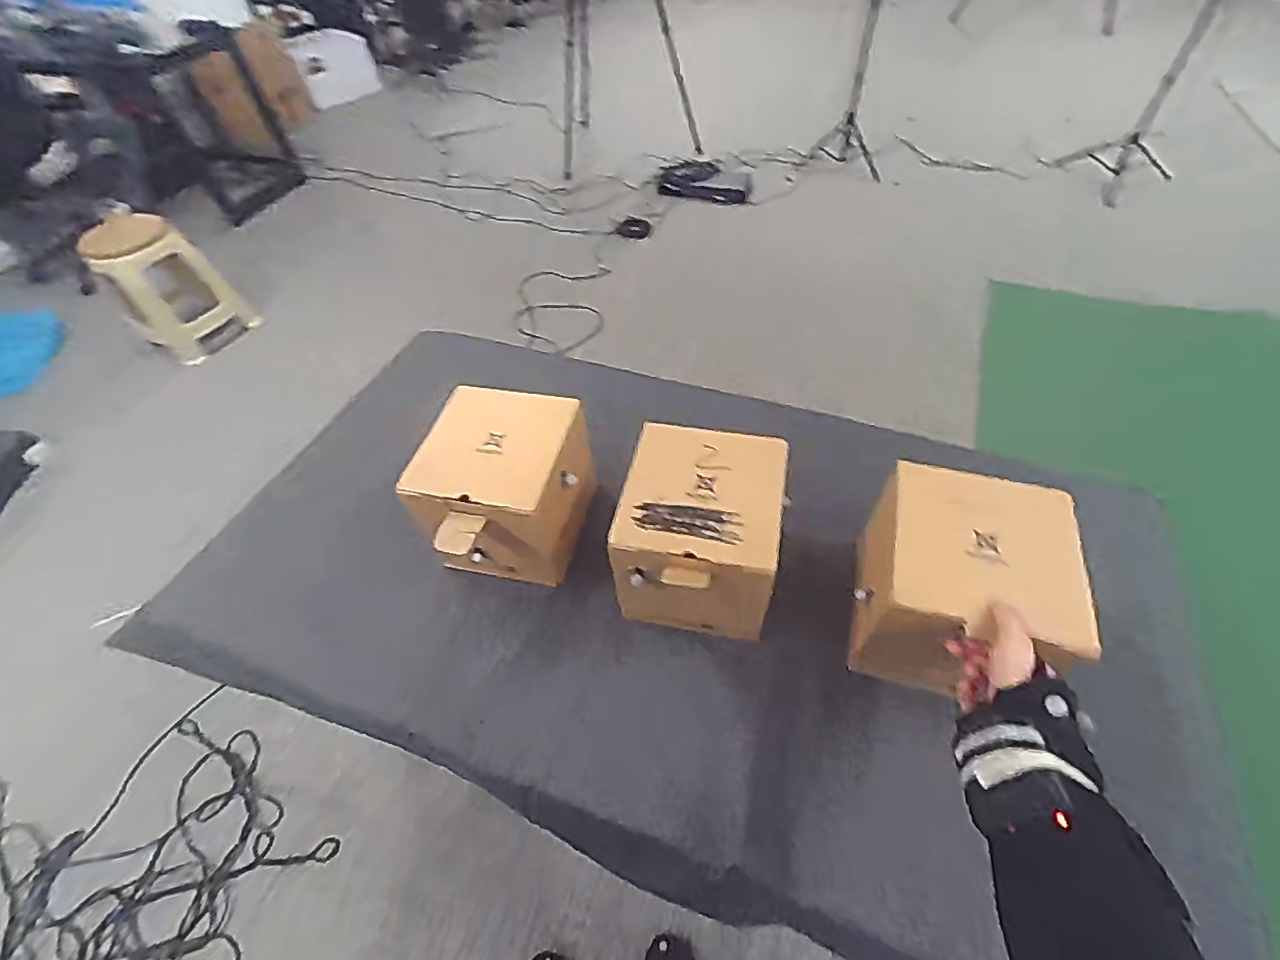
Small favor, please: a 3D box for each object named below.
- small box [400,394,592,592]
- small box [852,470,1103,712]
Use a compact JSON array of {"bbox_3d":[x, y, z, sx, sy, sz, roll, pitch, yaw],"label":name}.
[{"bbox_3d":[-0.164,0.017,0.690,0.168,0.176,0.179,8,53,10],"label":"small box"},{"bbox_3d":[0.332,0.120,0.572,0.168,0.176,0.179,12,52,12],"label":"small box"}]
